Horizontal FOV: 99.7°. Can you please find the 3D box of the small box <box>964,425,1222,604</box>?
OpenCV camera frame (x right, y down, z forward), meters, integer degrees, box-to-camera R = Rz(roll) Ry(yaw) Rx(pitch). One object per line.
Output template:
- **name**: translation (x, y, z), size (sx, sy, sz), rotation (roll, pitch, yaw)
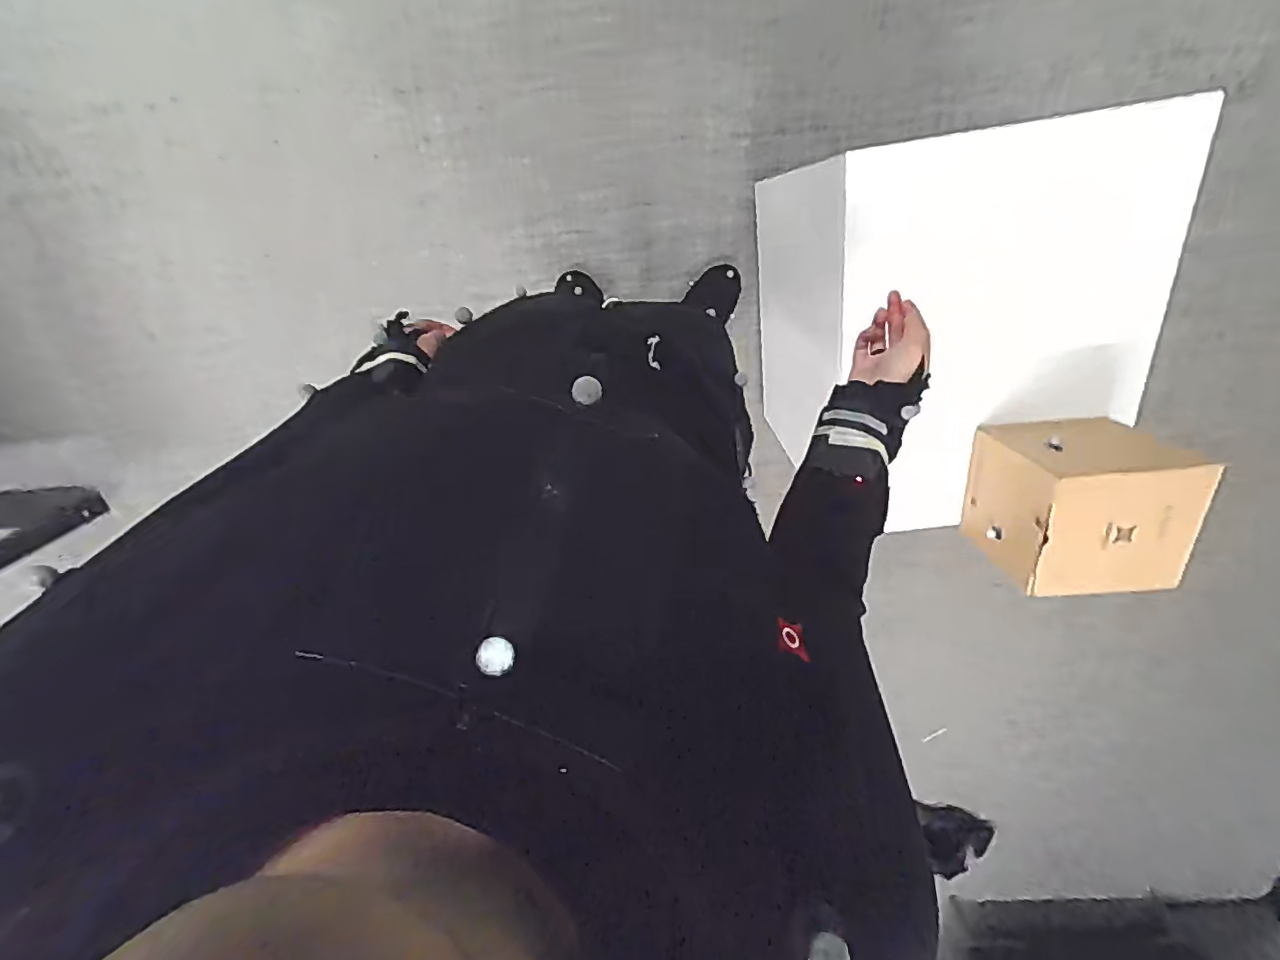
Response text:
- **small box**: translation (0.552, 0.037, 0.693), size (0.179, 0.176, 0.168), rotation (-5, 115, 2)
